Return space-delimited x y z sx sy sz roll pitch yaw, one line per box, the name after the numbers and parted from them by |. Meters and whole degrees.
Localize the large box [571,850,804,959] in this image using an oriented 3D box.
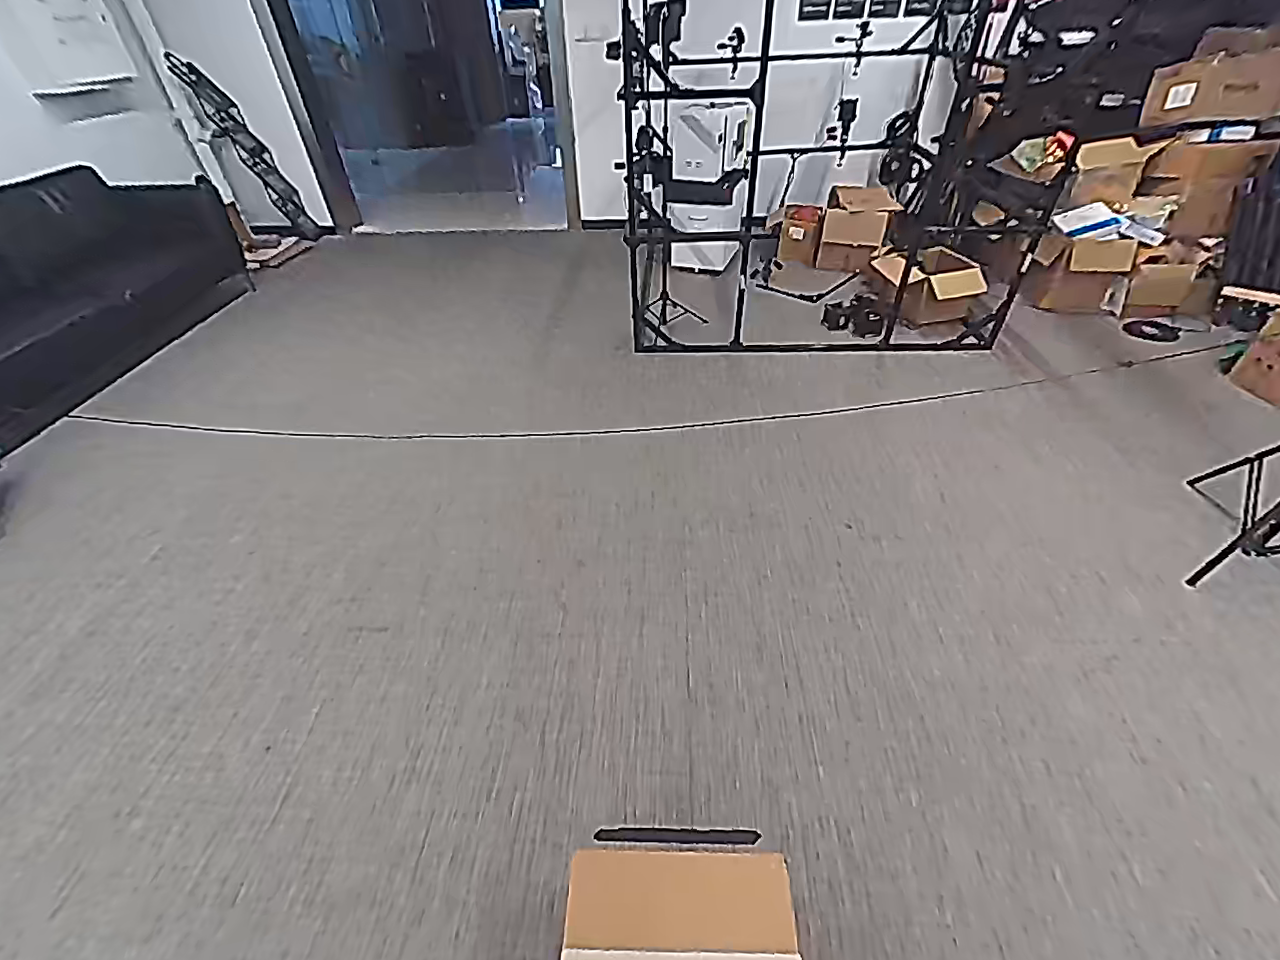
0.081 0.924 1.010 0.408 0.320 0.320 0 41 2 | large box
